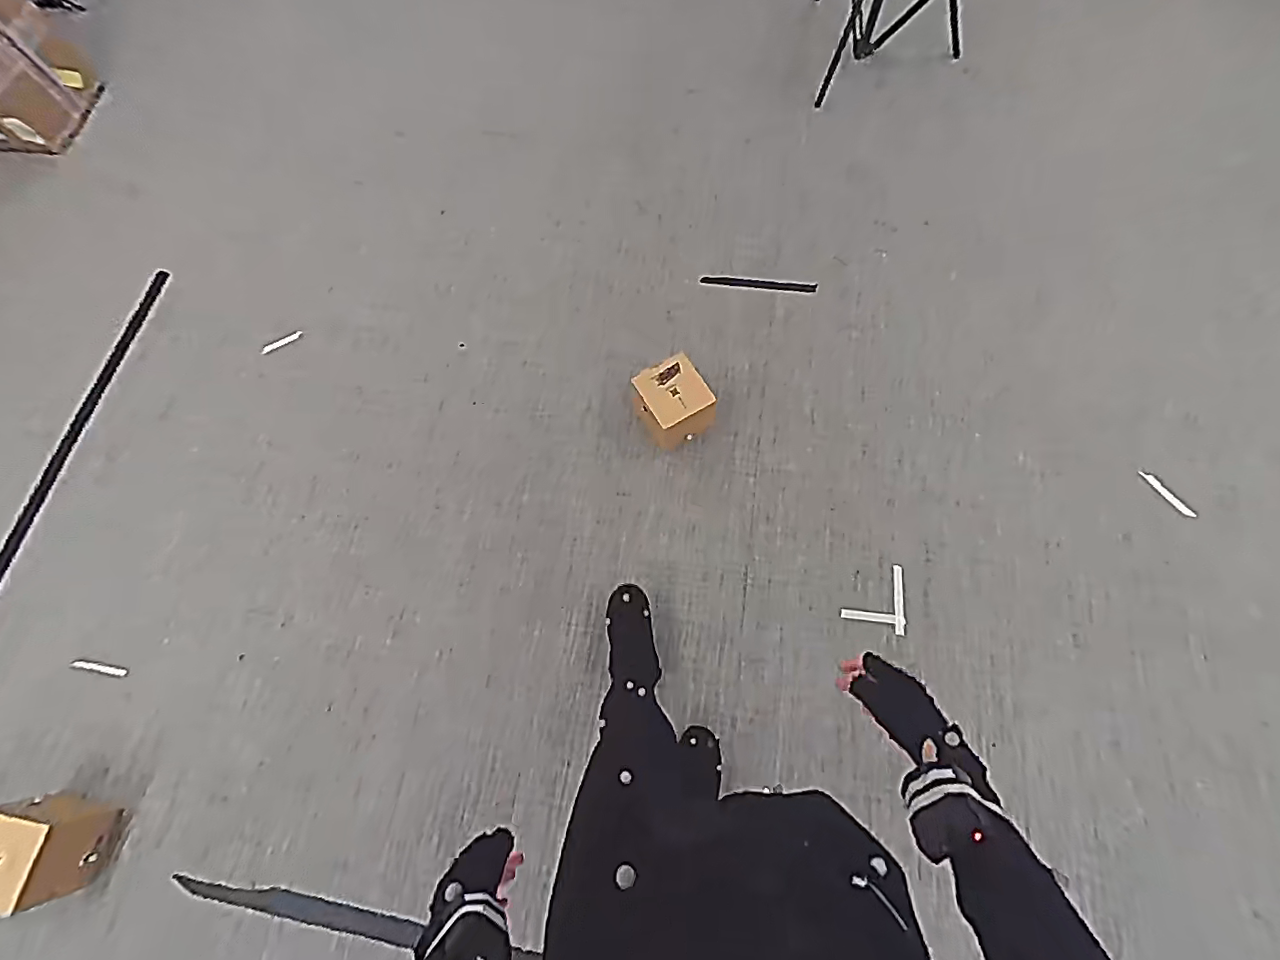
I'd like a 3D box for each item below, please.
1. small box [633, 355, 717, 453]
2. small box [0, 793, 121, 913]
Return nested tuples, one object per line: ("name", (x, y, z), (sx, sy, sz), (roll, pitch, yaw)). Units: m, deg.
("small box", (0.094, -0.206, 1.504), (0.168, 0.176, 0.179), (-29, 72, -7))
("small box", (-1.335, 0.812, 1.197), (0.179, 0.176, 0.168), (8, 72, 4))
